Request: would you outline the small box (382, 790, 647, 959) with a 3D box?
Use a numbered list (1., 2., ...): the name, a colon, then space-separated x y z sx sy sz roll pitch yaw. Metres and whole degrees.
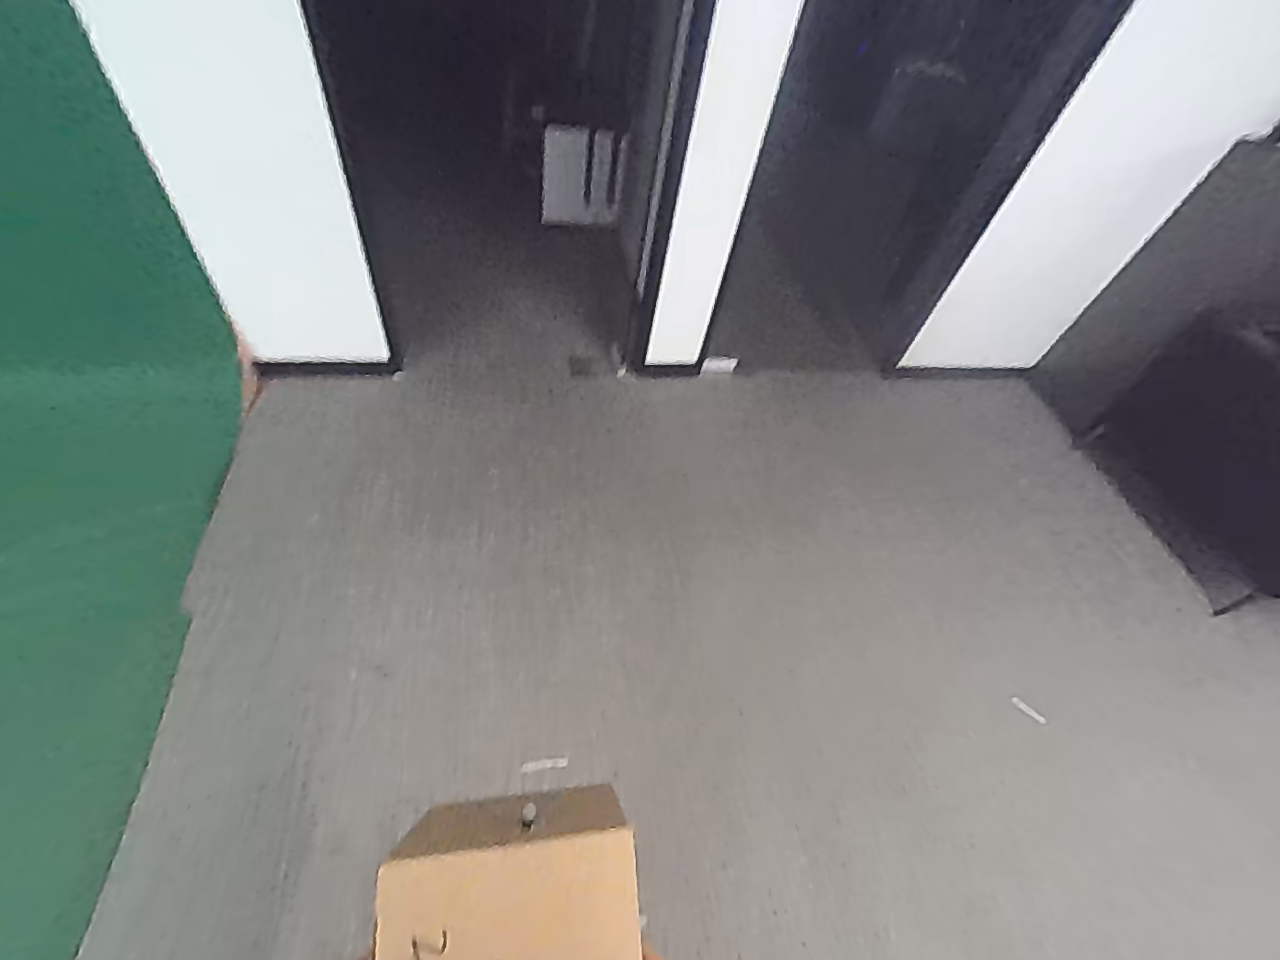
1. small box: -0.092 0.362 0.430 0.179 0.176 0.168 -2 71 -10
